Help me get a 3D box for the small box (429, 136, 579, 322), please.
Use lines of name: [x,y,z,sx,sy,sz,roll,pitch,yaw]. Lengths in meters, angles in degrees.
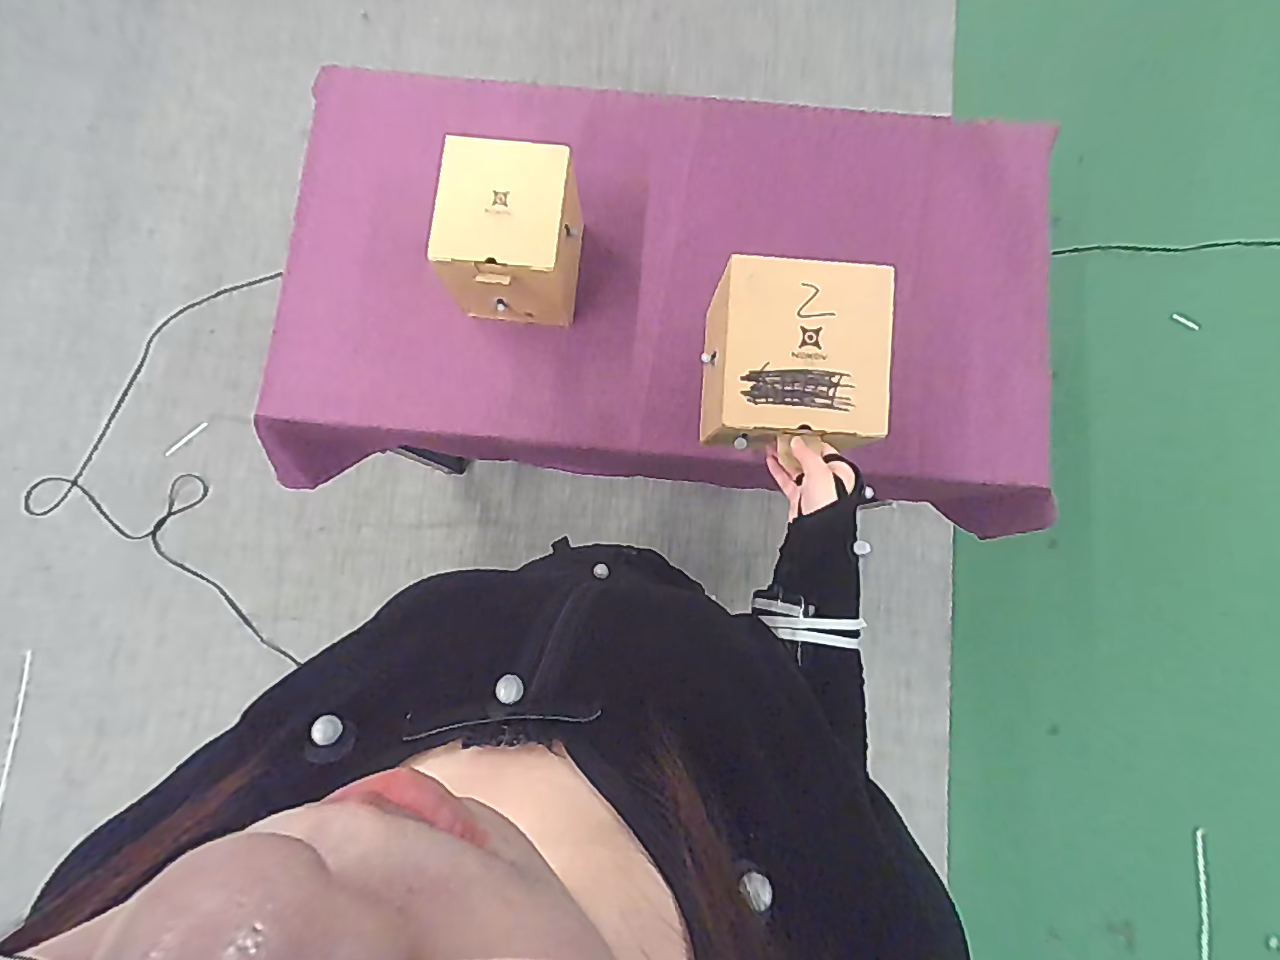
small box: [-0.185,-0.355,0.790,0.168,0.176,0.179,6,83,0]
